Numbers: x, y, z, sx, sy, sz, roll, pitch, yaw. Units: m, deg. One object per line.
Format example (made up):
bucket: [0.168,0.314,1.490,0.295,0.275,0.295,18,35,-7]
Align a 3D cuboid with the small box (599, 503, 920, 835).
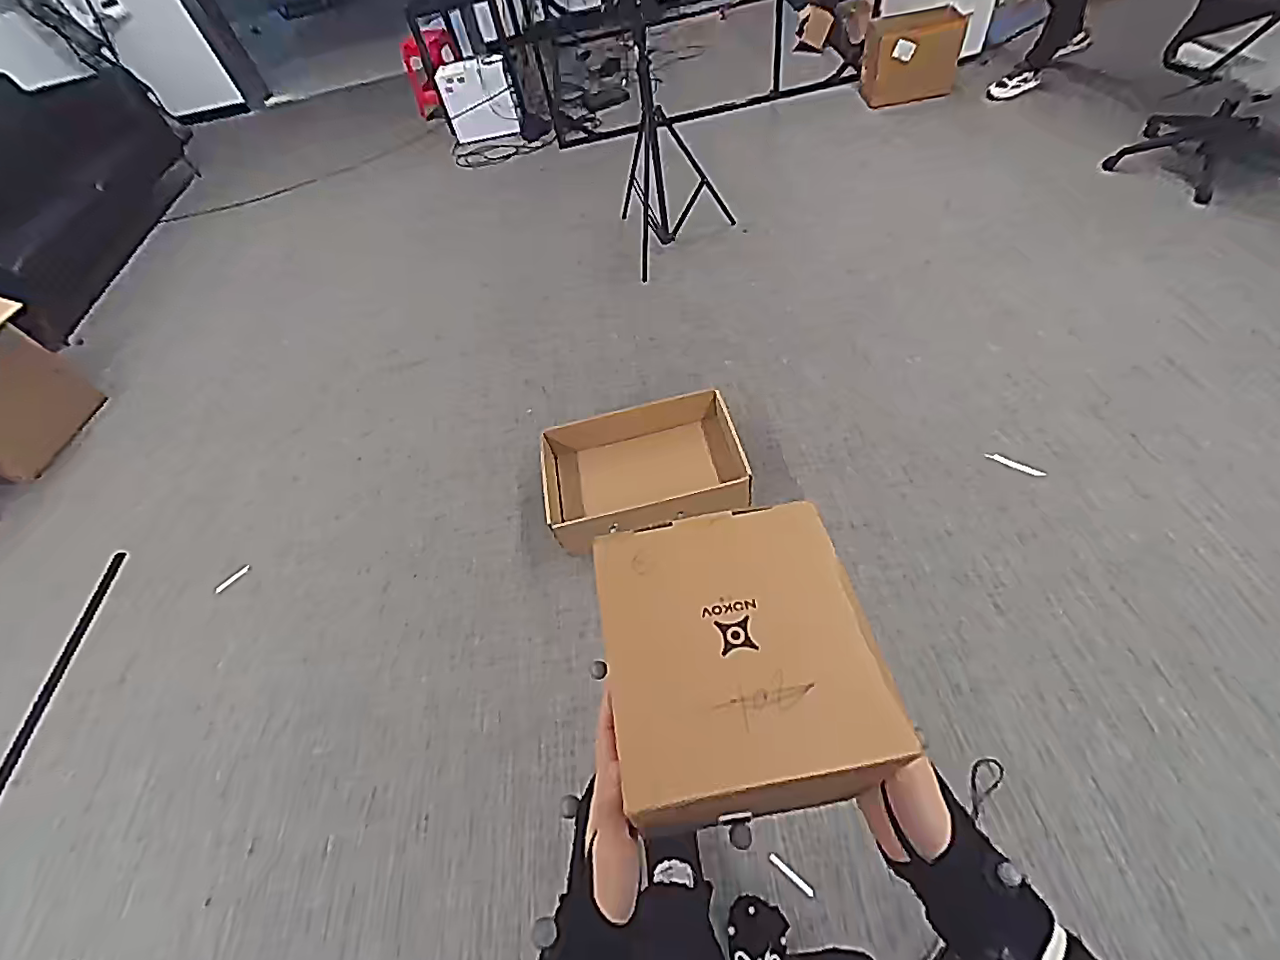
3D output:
small box: [0.066,0.145,0.407,0.168,0.176,0.179,-10,53,-3]
